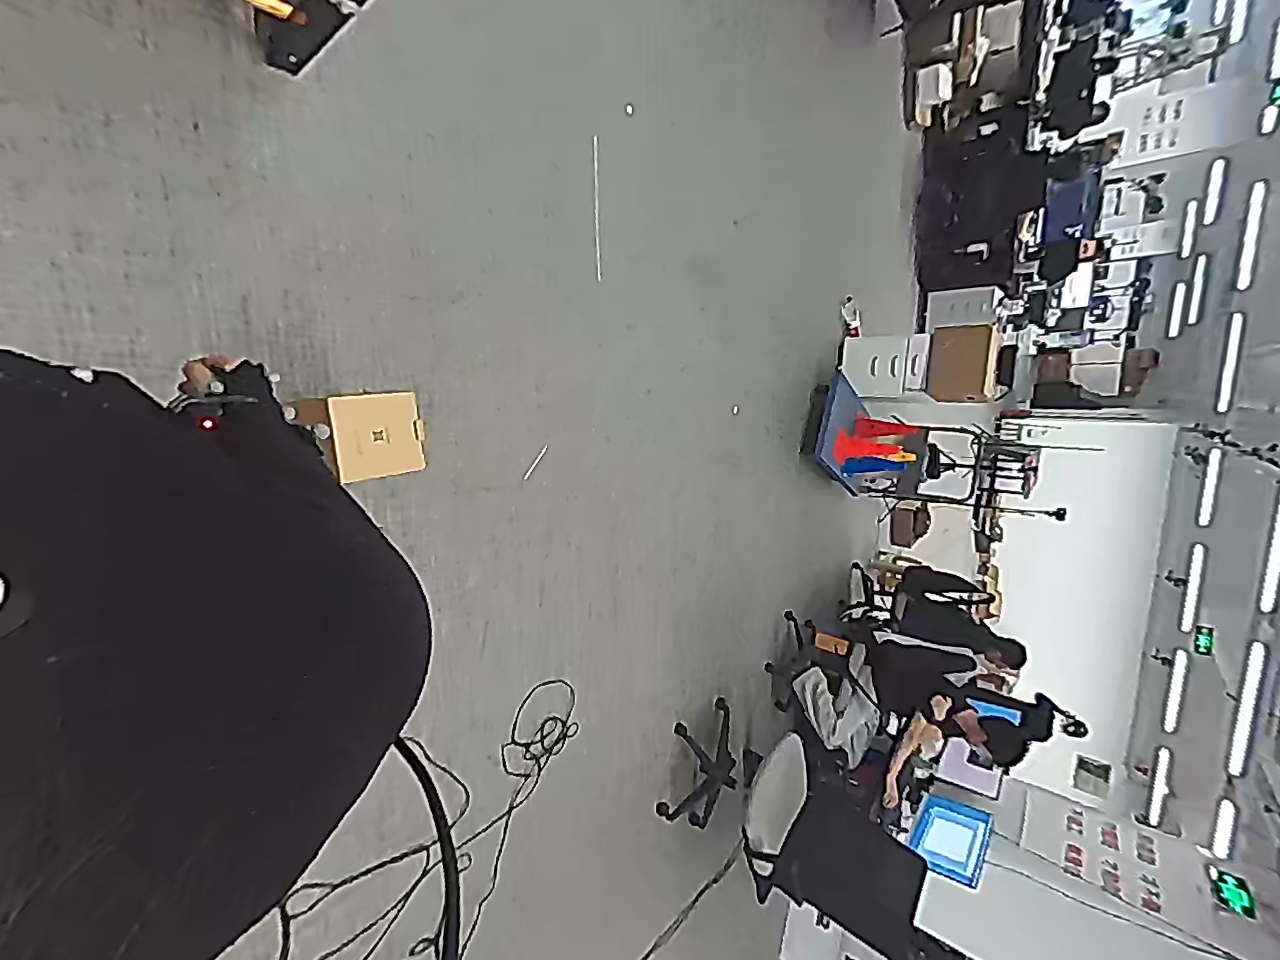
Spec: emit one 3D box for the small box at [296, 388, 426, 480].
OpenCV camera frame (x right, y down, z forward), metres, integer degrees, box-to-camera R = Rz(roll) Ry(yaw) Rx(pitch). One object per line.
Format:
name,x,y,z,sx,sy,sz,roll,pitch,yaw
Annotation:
small box,-0.577,-0.103,1.123,0.179,0.176,0.168,-18,108,-48

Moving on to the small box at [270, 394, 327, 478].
small box,-0.707,-0.107,1.224,0.168,0.176,0.179,-18,109,-48
